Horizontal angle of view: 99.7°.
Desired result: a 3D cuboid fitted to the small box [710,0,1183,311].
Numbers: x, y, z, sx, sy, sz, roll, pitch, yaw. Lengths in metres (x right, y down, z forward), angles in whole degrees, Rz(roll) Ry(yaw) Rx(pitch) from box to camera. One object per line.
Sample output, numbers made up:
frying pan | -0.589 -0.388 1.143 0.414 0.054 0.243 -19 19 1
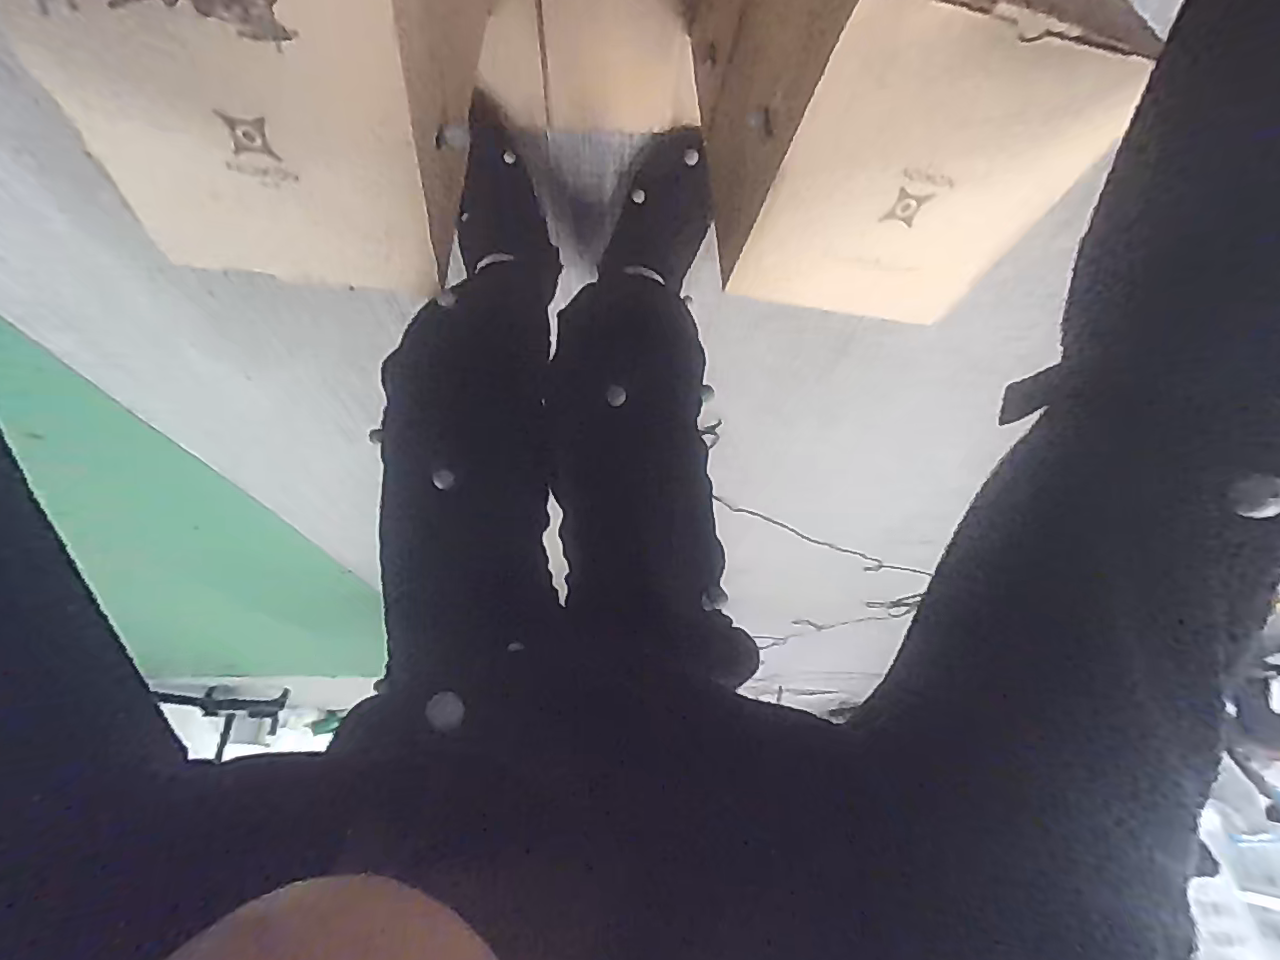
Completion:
small box | 0.149 -0.239 0.338 0.168 0.176 0.179 5 153 -12

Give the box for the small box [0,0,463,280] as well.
small box | -0.198 -0.248 0.304 0.168 0.176 0.179 3 153 -11

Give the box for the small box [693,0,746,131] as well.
small box | 0.141 -0.387 0.407 0.168 0.176 0.179 3 153 -10
